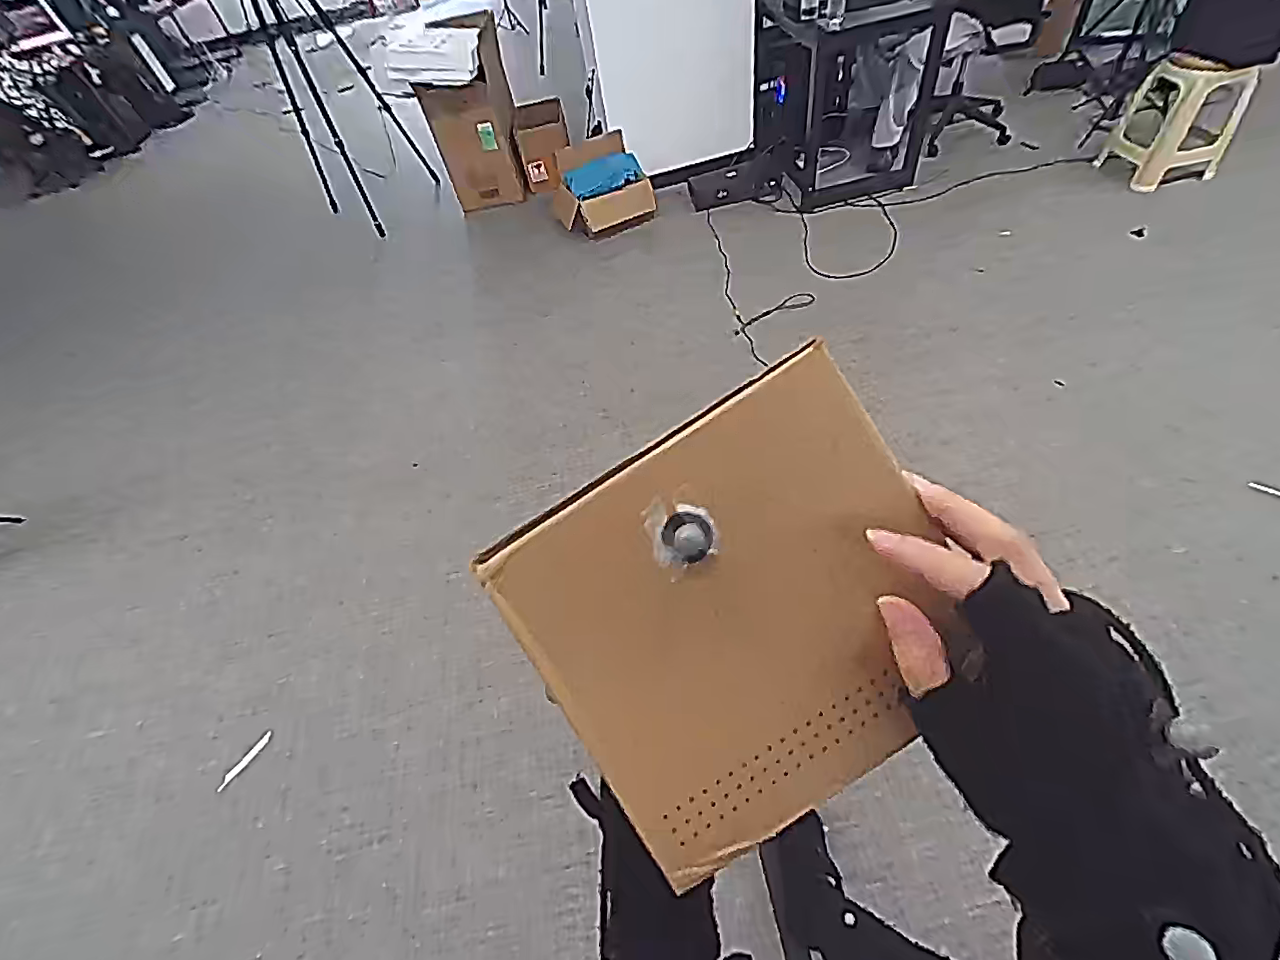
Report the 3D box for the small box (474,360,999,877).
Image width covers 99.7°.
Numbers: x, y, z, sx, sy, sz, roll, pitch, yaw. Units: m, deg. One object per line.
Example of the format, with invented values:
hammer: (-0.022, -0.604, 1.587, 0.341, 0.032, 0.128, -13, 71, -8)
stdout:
small box: (0.045, 0.064, 0.306, 0.179, 0.168, 0.176, -33, 91, 0)
